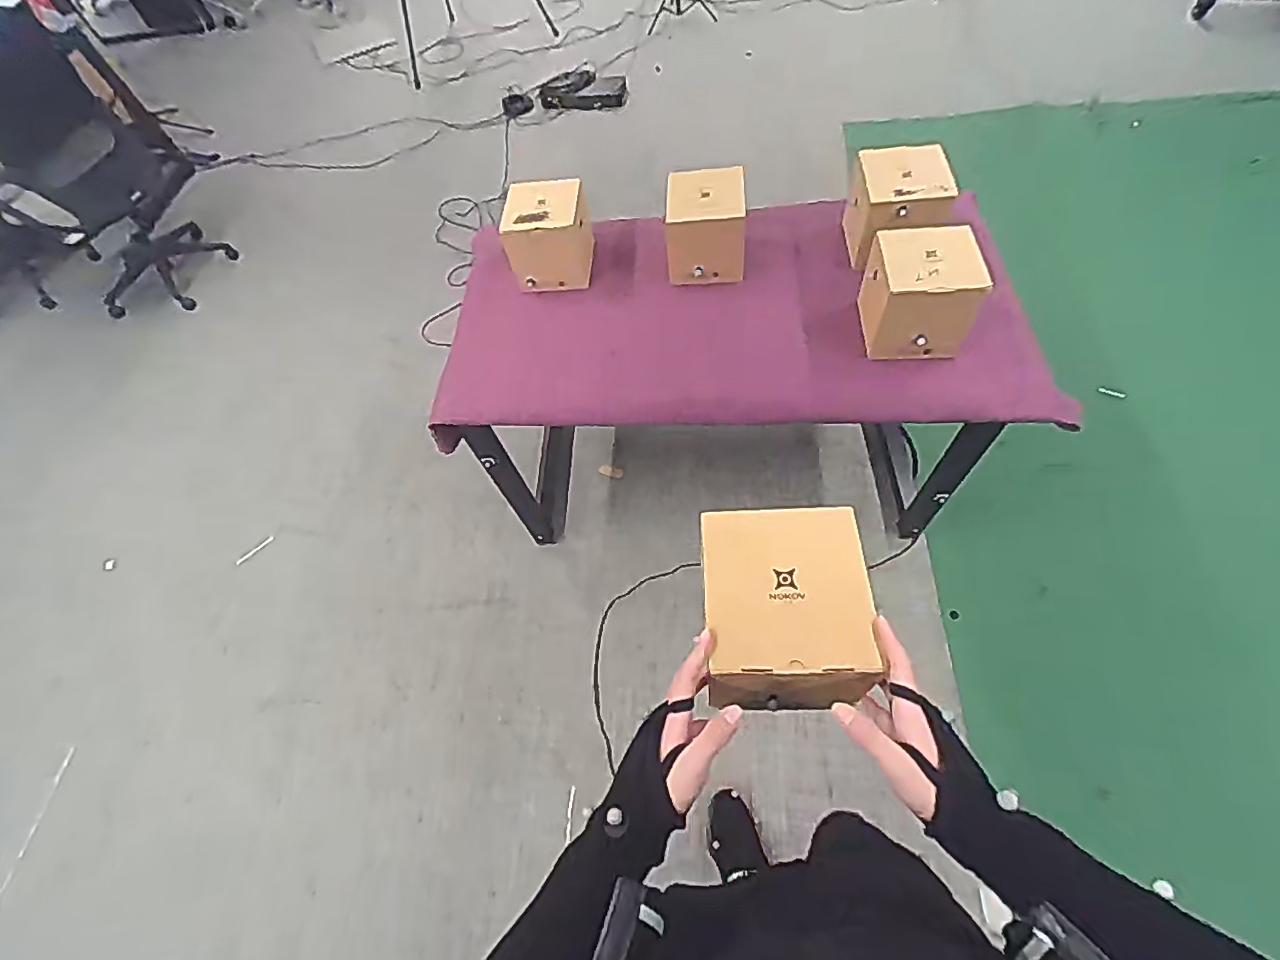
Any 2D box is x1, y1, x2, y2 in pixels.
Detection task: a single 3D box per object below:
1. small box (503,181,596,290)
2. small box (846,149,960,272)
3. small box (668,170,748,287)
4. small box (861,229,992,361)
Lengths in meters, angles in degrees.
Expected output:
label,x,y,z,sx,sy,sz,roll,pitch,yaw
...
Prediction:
label,x,y,z,sx,sy,sz,roll,pitch,yaw
small box,-0.202,-0.561,1.261,0.168,0.176,0.179,-1,59,7
small box,0.553,-0.575,1.164,0.168,0.176,0.179,-1,60,8
small box,0.154,-0.560,1.214,0.168,0.176,0.179,0,61,9
small box,0.532,-0.349,1.033,0.168,0.176,0.179,0,59,9
